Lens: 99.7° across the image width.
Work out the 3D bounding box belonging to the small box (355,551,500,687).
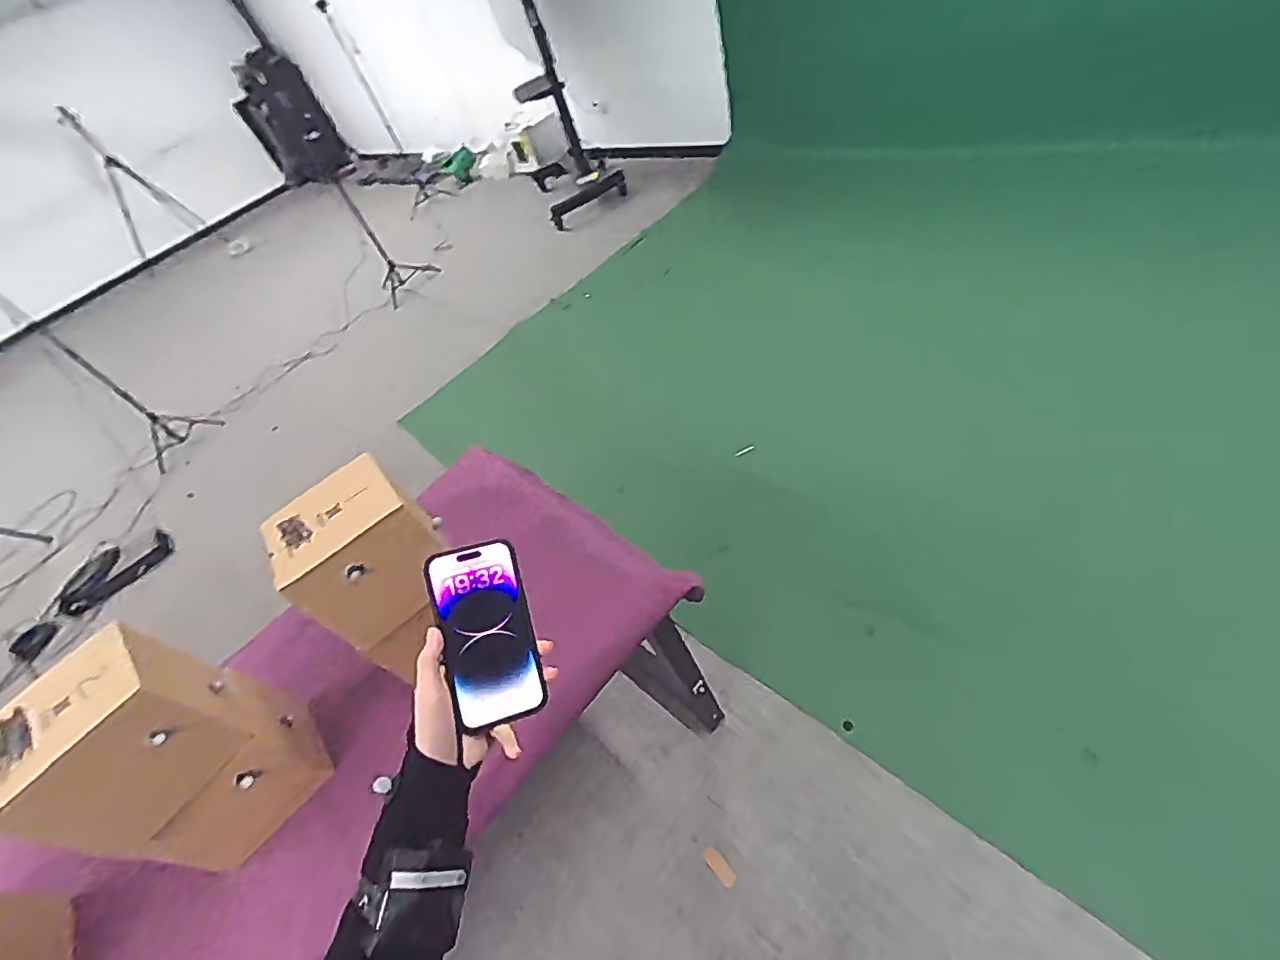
[{"bbox_3d":[-0.357,0.203,0.897,0.179,0.176,0.168,-39,46,-14],"label":"small box"}]

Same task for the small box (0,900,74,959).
[{"bbox_3d":[-0.879,0.669,0.682,0.168,0.176,0.179,-43,48,-18],"label":"small box"}]

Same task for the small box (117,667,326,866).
[{"bbox_3d":[-0.599,0.420,0.794,0.179,0.176,0.168,-44,48,-19],"label":"small box"}]

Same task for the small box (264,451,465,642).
[{"bbox_3d":[-0.389,0.097,0.775,0.179,0.176,0.168,-39,46,-15],"label":"small box"}]
